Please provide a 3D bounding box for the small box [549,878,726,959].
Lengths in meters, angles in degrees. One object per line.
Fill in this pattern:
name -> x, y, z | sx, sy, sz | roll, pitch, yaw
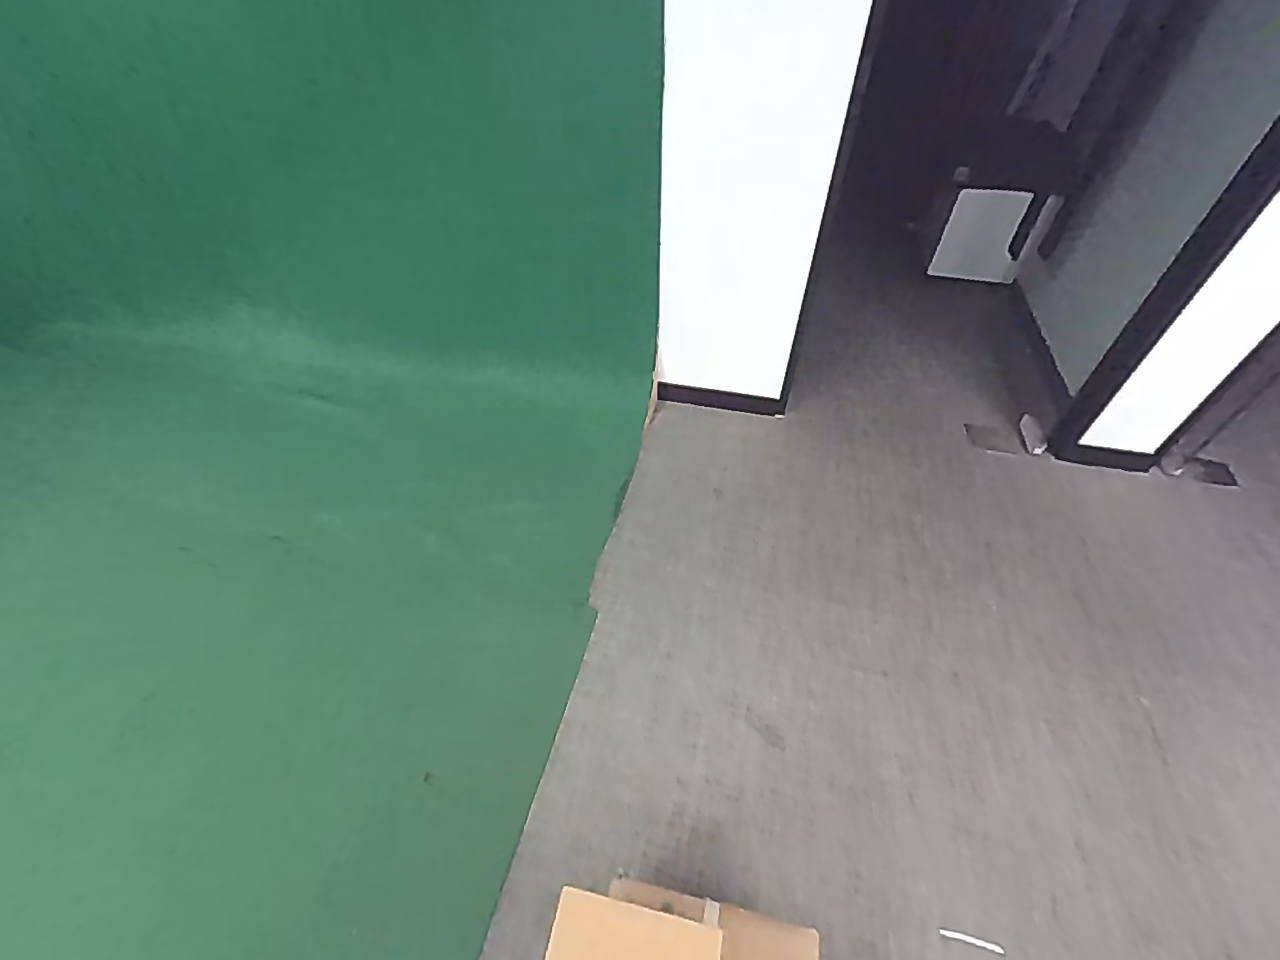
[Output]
small box -> -0.010, 0.539, 0.547 | 0.168, 0.176, 0.179 | 7, 49, 11
